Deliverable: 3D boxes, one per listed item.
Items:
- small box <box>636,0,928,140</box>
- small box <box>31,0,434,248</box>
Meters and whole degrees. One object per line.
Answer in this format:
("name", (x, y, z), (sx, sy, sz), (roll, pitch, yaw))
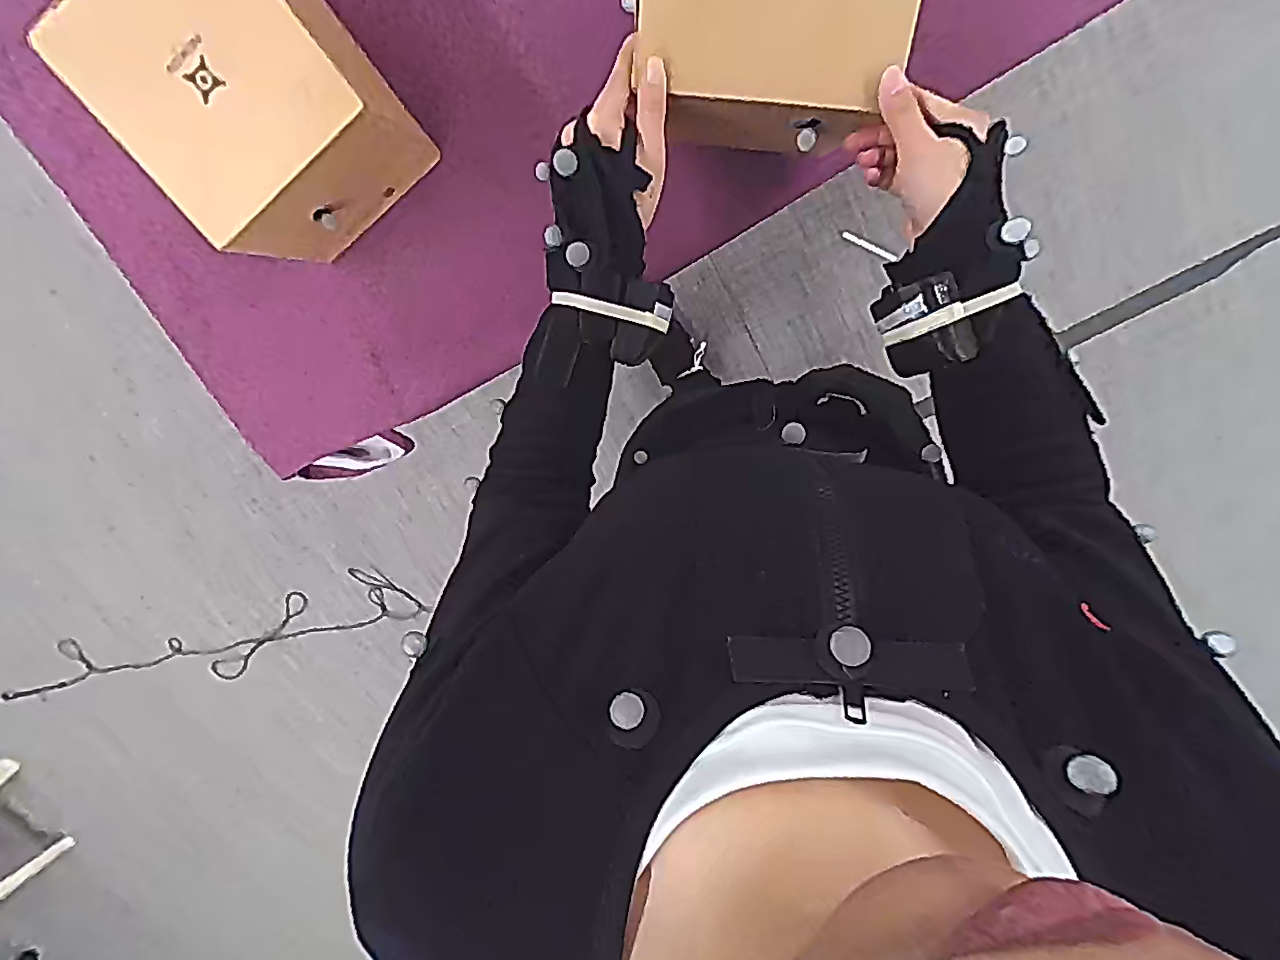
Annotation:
("small box", (0.093, -0.359, 0.389), (0.179, 0.176, 0.168), (5, 113, 0))
("small box", (-0.313, -0.321, 0.461), (0.168, 0.176, 0.179), (-36, 104, 12))
